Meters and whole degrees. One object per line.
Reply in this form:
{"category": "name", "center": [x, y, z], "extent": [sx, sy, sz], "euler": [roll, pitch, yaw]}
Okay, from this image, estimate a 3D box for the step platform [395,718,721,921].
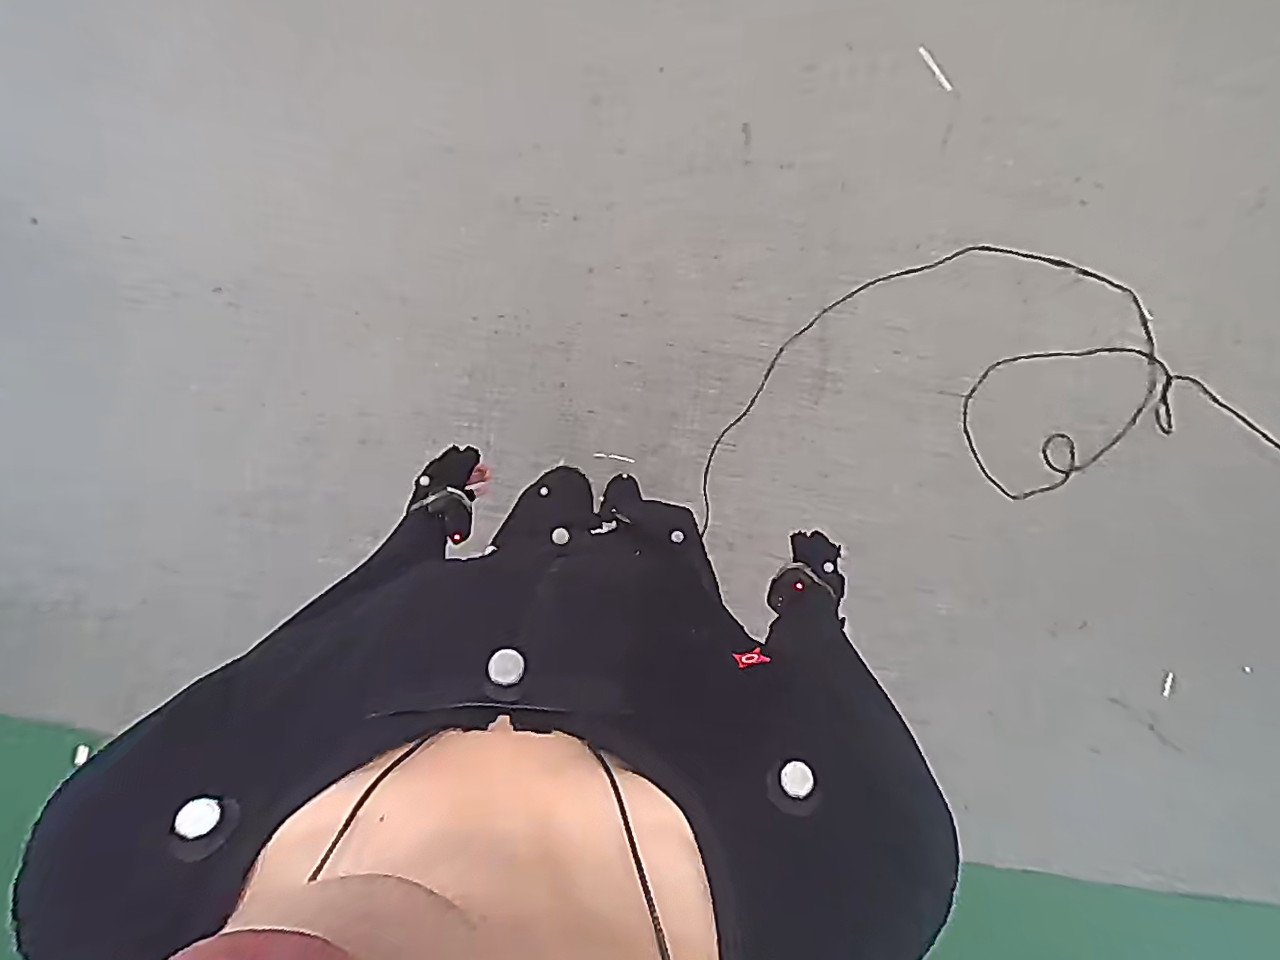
{"category": "step platform", "center": [-0.173, 0.753, 1.230], "extent": [0.684, 0.204, 0.286], "euler": [9, 92, -3]}
